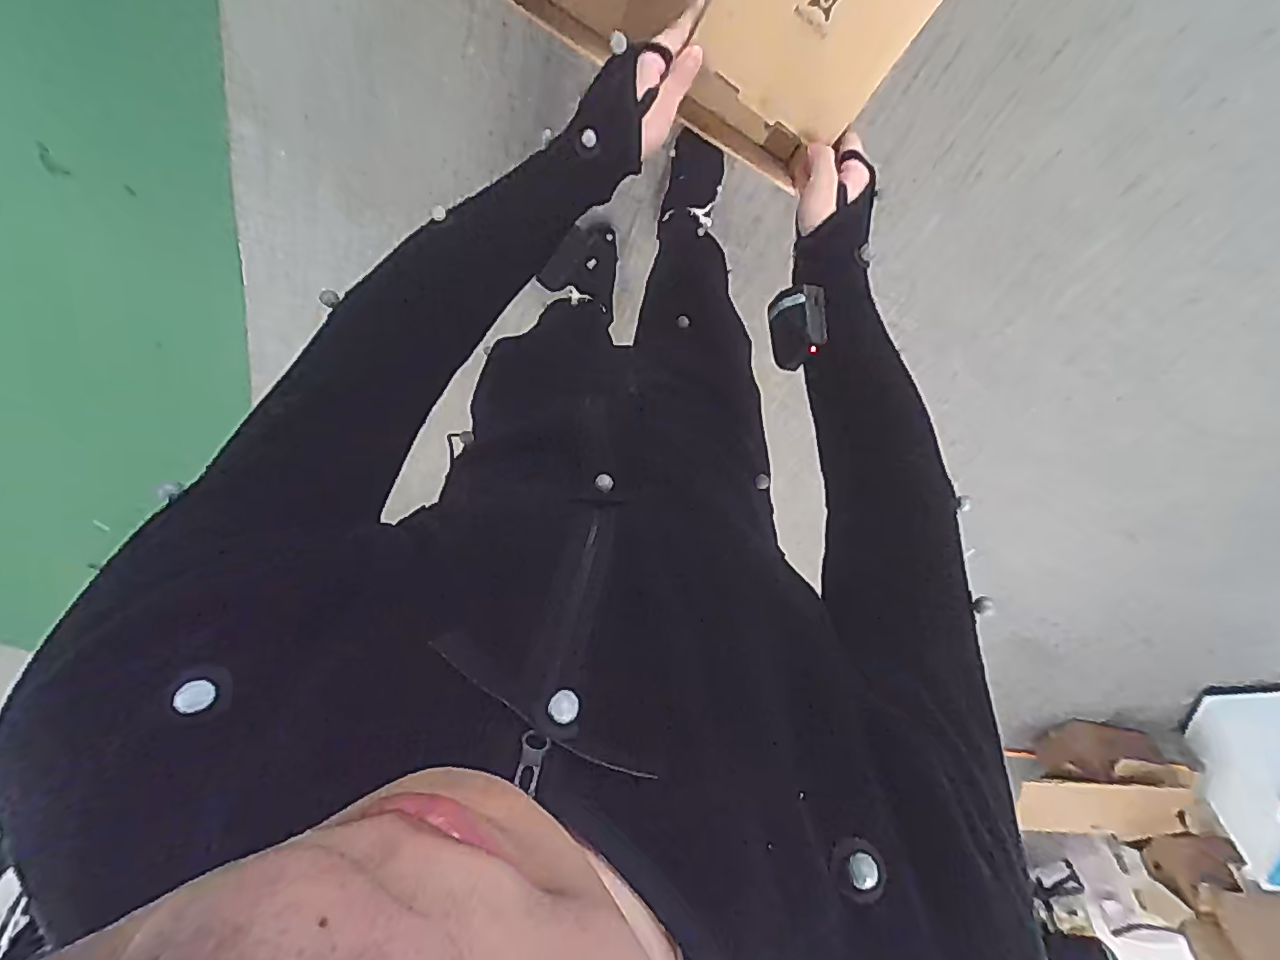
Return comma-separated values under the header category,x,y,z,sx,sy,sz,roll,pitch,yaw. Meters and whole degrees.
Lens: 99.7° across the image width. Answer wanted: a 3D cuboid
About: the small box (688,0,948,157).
category,x,y,z,sx,sy,sz,roll,pitch,yaw
small box,0.161,-0.456,0.508,0.168,0.176,0.179,25,132,-20
